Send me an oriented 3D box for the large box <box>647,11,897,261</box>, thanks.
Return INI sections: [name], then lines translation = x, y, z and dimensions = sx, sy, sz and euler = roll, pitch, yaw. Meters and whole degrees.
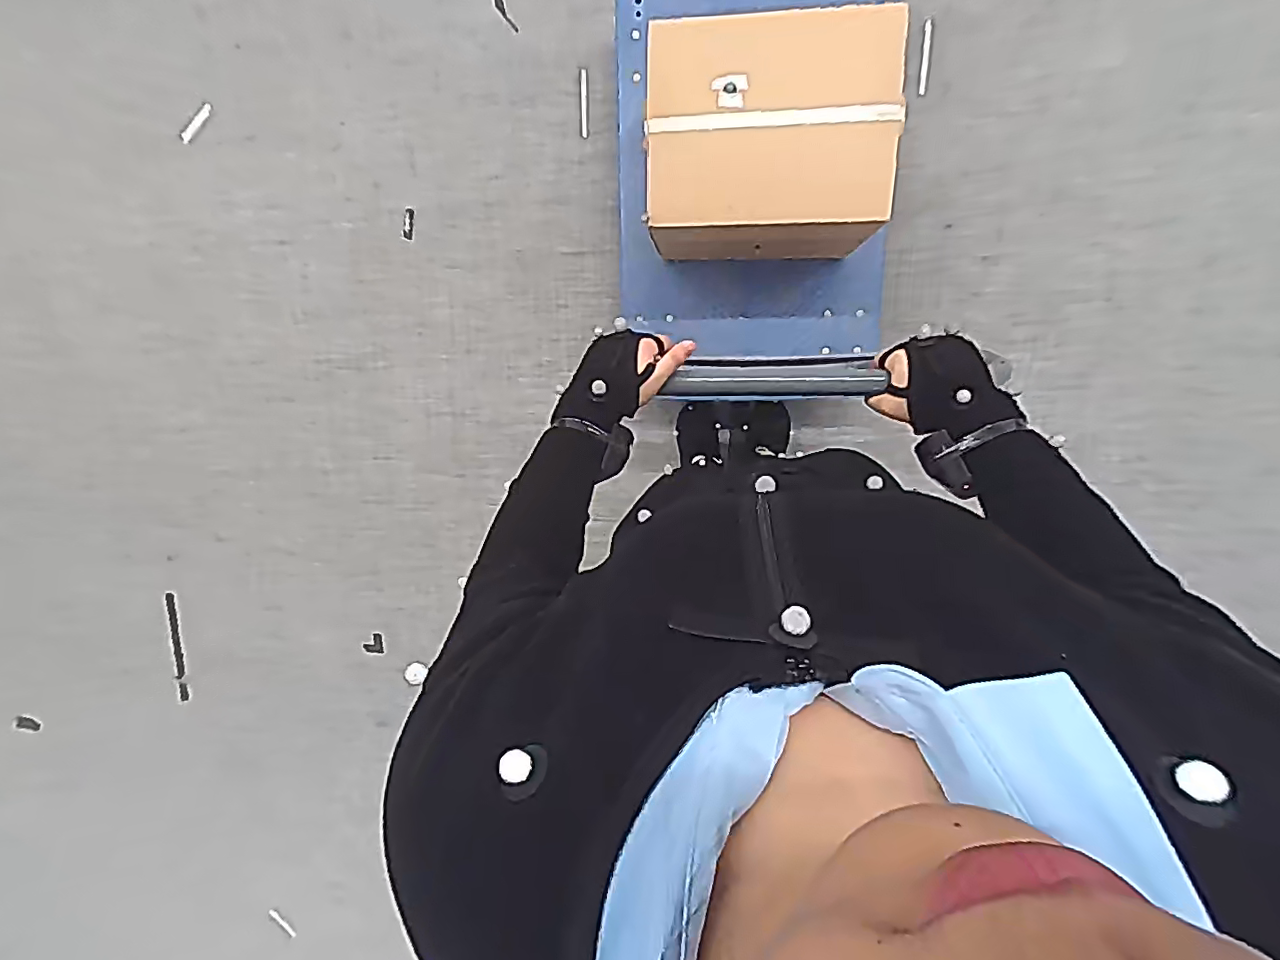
[large box]
translation = 0.233, -0.619, 1.048
dimensions = 0.408, 0.320, 0.320
euler = 2, 101, 8
